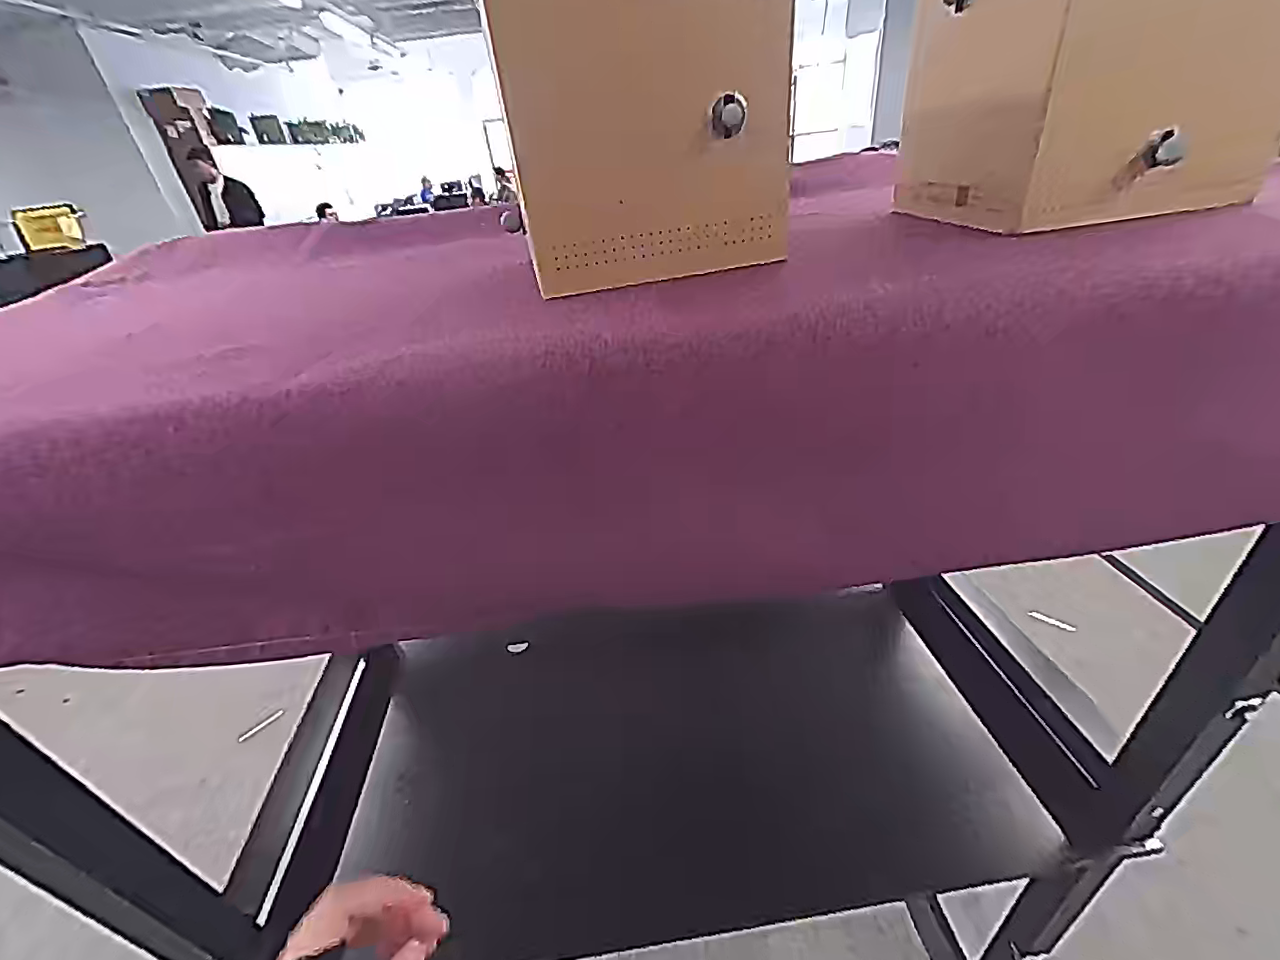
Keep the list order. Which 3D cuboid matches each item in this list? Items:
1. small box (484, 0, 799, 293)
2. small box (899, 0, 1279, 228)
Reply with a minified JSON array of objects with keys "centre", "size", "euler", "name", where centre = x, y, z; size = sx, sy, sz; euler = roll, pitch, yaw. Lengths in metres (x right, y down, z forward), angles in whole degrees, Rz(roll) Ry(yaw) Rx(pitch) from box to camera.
[{"centre":[-0.005,-0.248,0.391],"size":[0.179,0.176,0.168],"euler":[-12,32,-7],"name":"small box"},{"centre":[0.316,-0.290,0.387],"size":[0.179,0.176,0.168],"euler":[-8,32,-2],"name":"small box"}]
